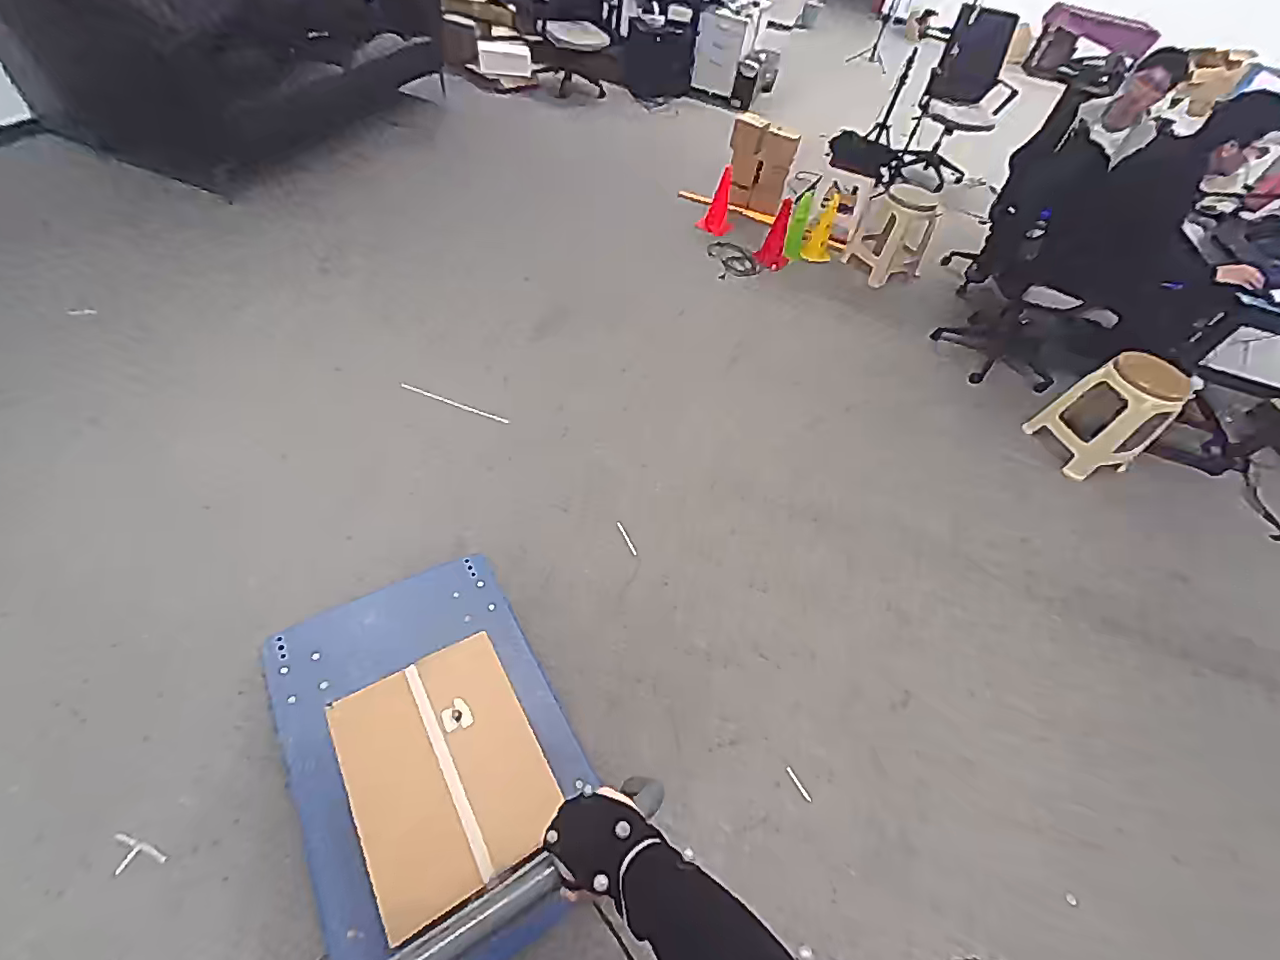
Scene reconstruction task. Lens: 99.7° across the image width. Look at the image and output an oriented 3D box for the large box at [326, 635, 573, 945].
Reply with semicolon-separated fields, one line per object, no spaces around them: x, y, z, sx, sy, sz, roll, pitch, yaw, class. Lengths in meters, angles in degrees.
-0.364;0.604;1.080;0.320;0.320;0.408;-22;57;-26;large box
